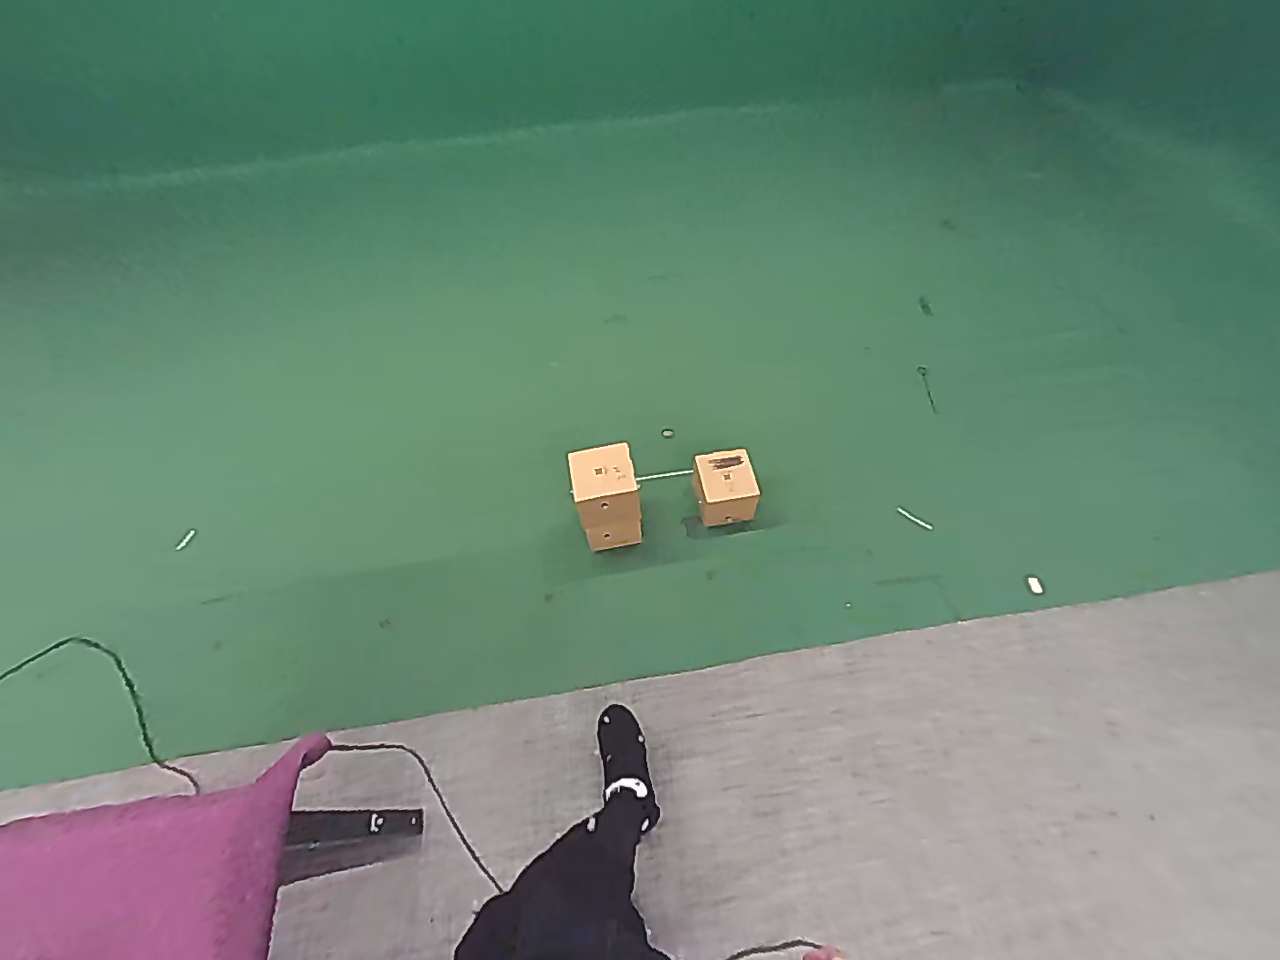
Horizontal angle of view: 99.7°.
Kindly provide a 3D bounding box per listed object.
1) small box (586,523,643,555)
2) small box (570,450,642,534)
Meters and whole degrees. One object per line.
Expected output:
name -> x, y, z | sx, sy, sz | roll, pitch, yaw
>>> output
small box -> -0.087, 0.124, 1.699 | 0.168, 0.176, 0.179 | -11, 57, -3
small box -> -0.096, 0.039, 1.558 | 0.179, 0.176, 0.168 | -10, 57, -4
